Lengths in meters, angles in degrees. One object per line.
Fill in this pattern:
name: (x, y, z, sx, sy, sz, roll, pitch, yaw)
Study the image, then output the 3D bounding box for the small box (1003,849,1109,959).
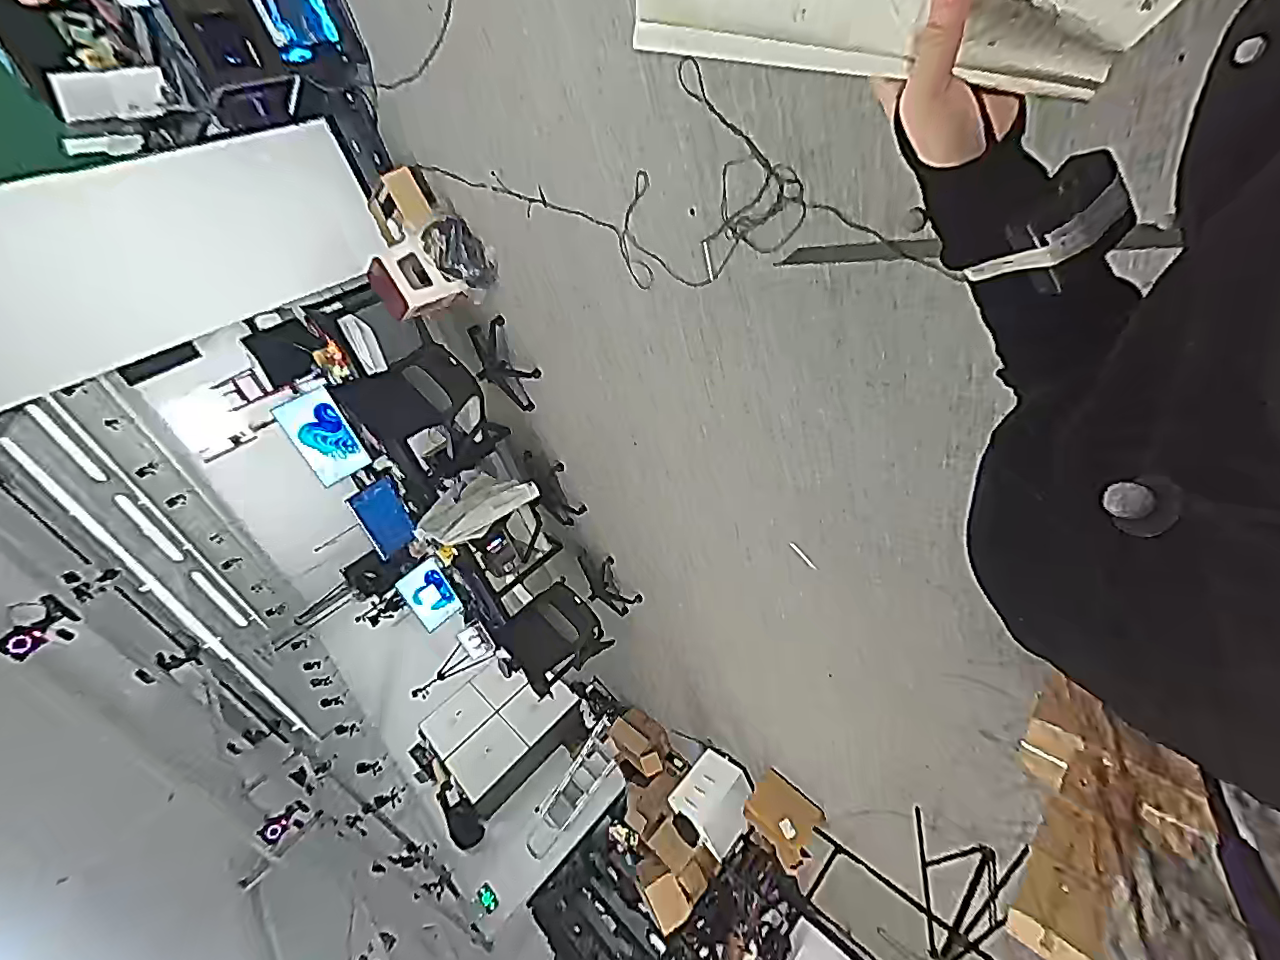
small box: (1.033, 1.078, 1.346, 0.168, 0.176, 0.179, 18, 137, 45)

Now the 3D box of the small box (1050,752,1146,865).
small box: (1.265, 0.899, 1.495, 0.168, 0.176, 0.179, 17, 137, 47)
